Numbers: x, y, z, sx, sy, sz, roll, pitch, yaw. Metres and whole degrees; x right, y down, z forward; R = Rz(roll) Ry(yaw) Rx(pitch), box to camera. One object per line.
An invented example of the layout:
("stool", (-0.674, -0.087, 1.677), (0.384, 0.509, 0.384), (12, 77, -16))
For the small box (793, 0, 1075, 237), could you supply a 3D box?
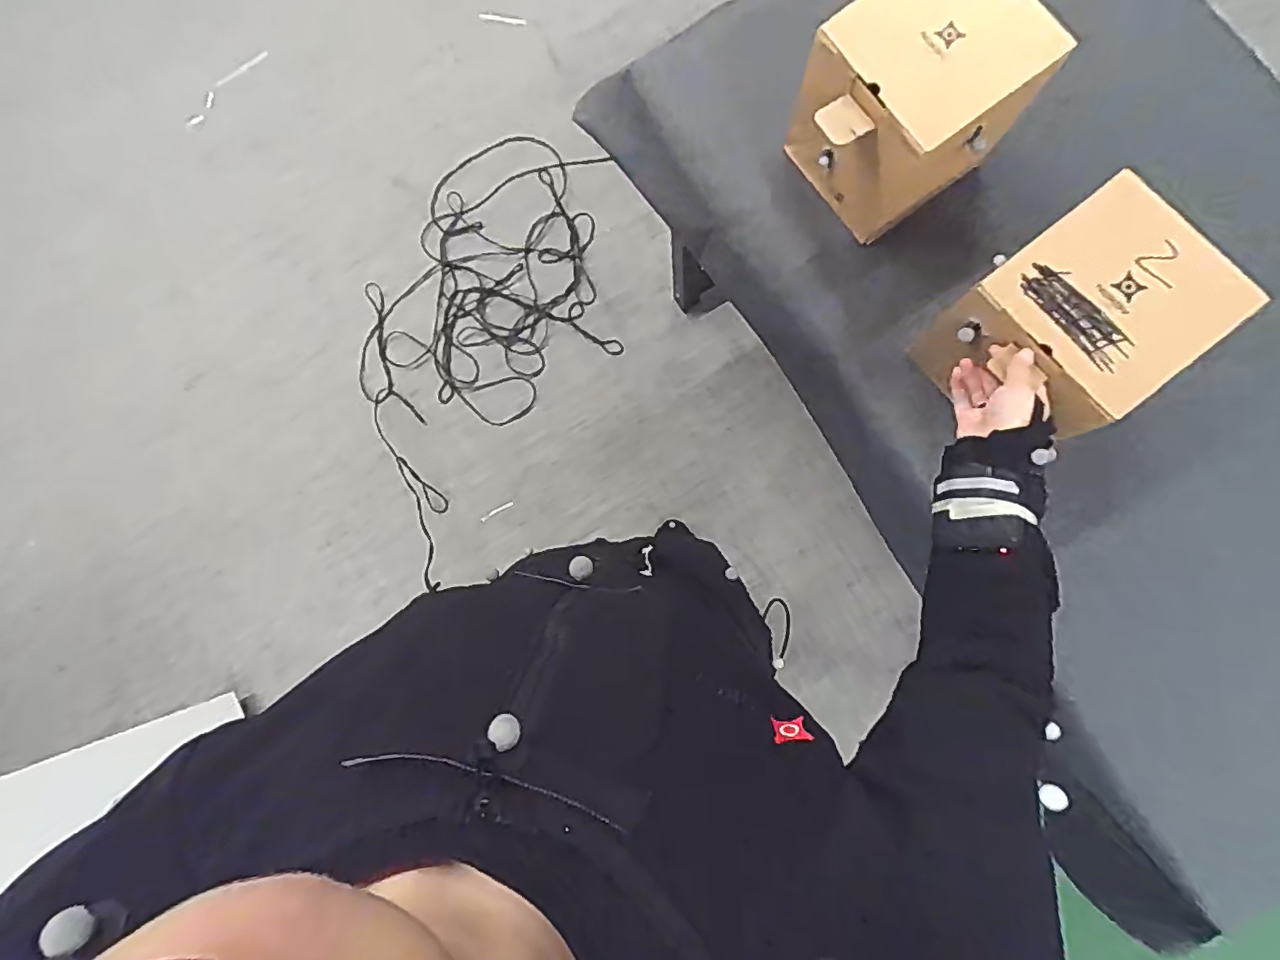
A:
("small box", (0.294, -0.411, 0.588), (0.179, 0.176, 0.168), (-36, 84, 1))
